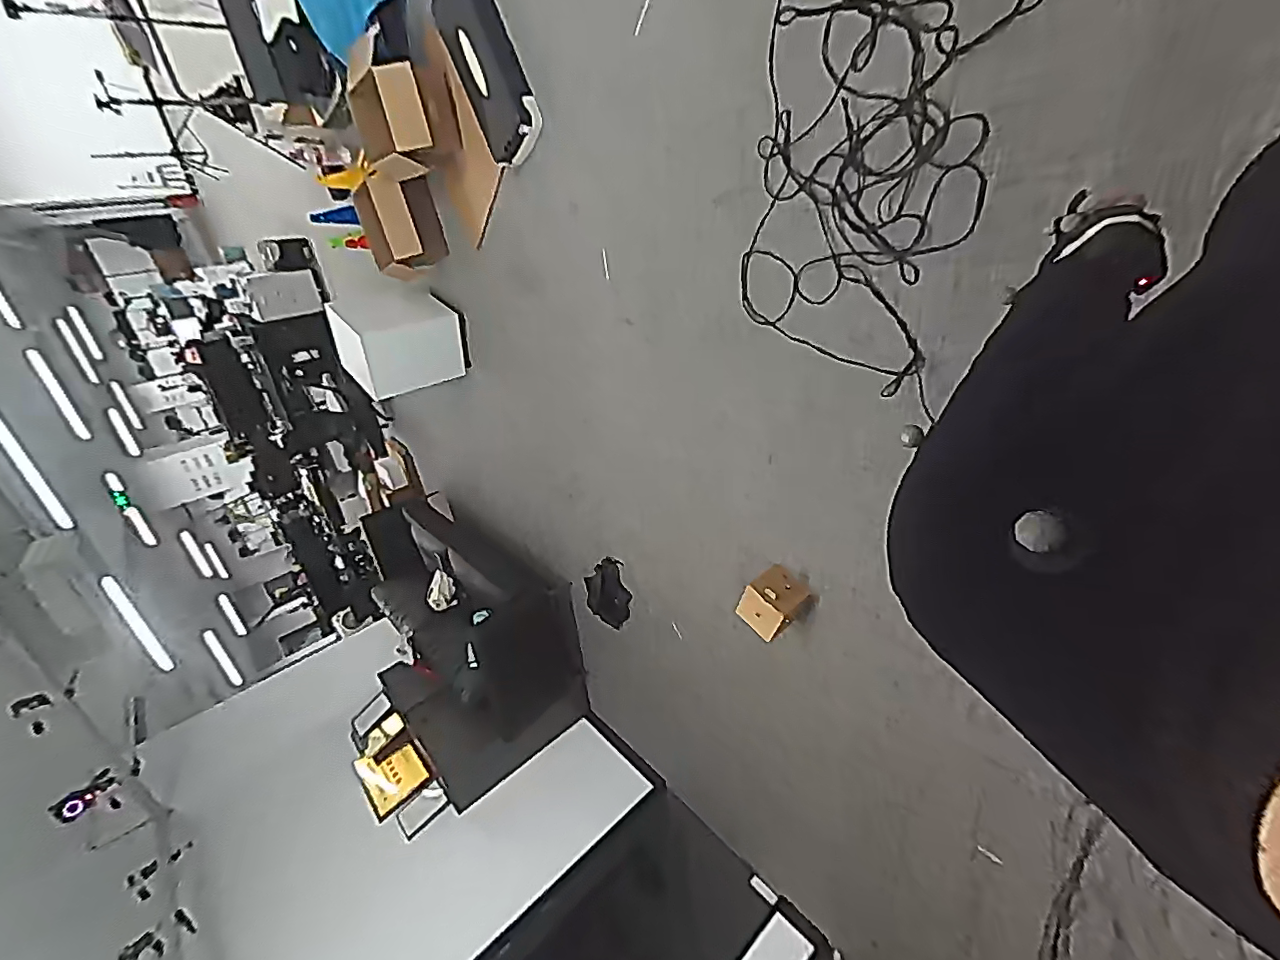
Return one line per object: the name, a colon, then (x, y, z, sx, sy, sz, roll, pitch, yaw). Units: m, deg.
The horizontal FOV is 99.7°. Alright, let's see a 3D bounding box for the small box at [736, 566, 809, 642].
small box: (0.483, 0.447, 1.963, 0.168, 0.176, 0.179, 42, 140, 29)
